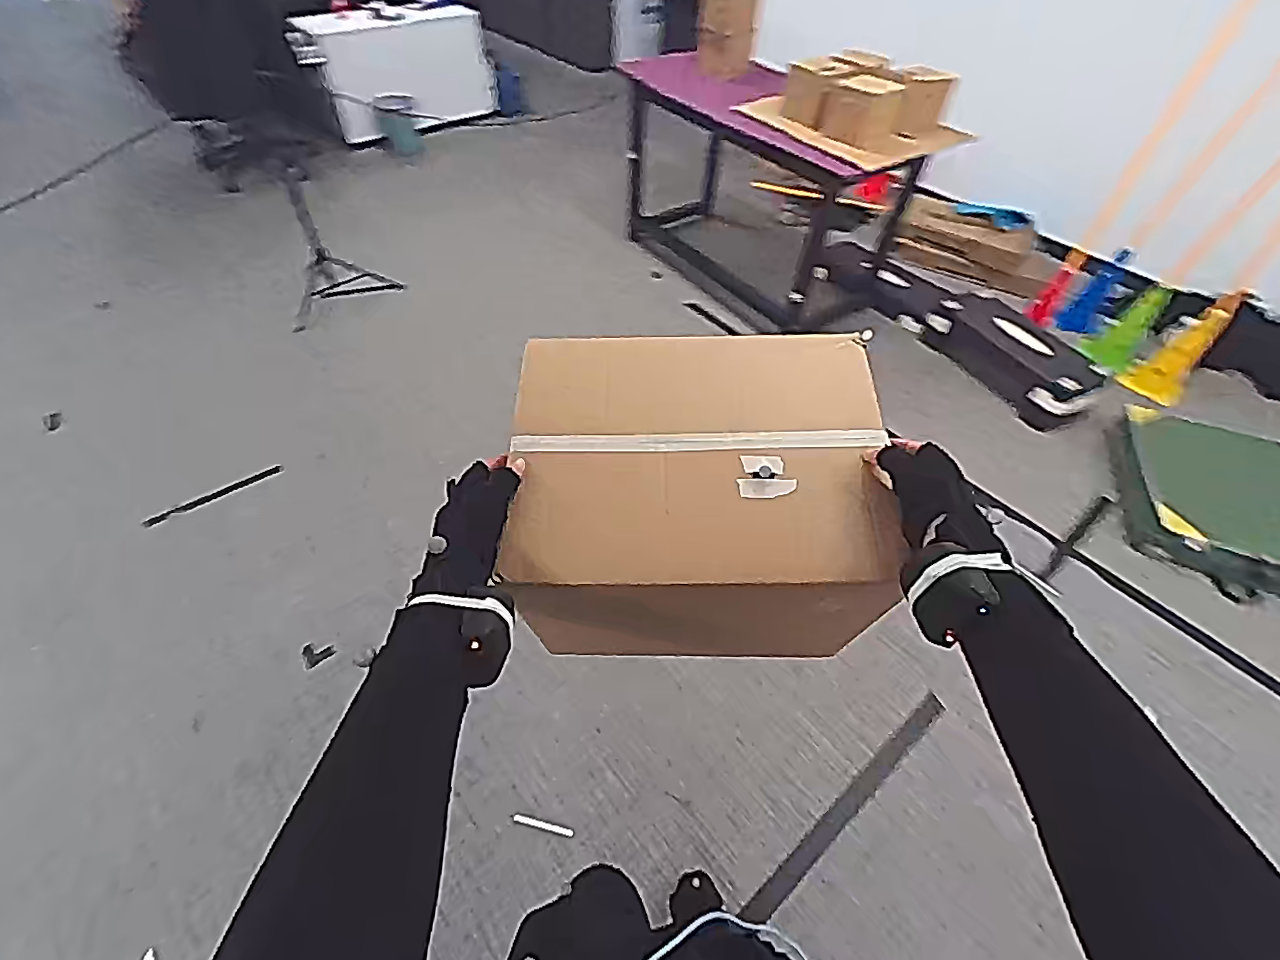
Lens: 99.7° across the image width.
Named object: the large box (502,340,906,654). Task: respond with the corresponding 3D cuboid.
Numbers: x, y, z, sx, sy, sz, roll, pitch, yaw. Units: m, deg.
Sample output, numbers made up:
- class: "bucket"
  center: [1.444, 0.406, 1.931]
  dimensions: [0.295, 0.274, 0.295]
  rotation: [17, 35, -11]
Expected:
- class: "large box"
  center: [0.061, 0.039, 0.725]
  dimensions: [0.408, 0.320, 0.320]
  rotation: [-1, 61, 1]
